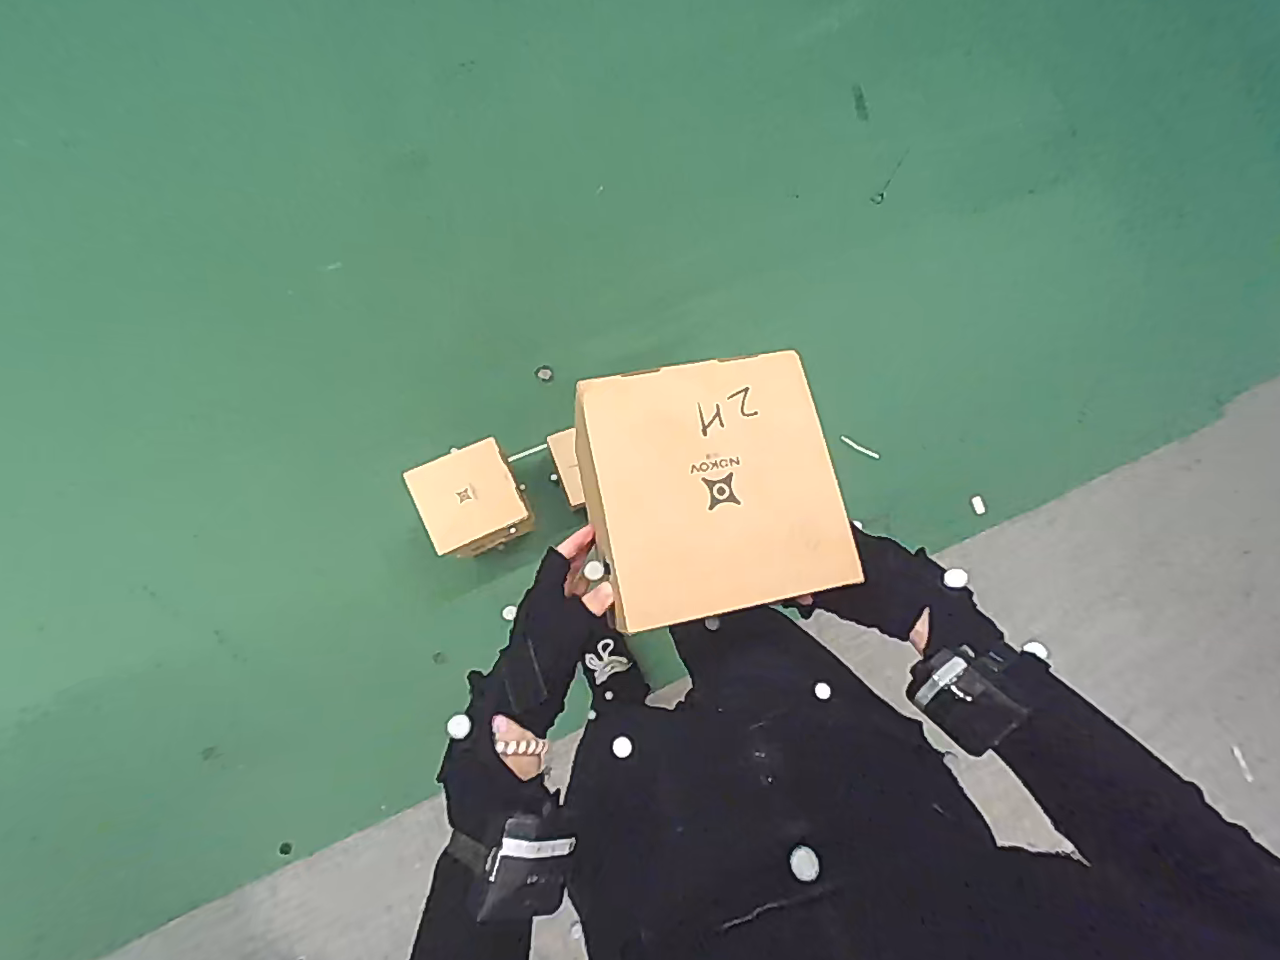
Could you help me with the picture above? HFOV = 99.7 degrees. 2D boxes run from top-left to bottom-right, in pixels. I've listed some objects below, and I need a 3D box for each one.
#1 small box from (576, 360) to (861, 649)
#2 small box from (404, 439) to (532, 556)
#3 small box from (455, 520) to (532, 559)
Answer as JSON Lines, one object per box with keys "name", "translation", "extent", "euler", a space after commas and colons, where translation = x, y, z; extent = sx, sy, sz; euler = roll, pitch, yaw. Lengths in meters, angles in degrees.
{"name": "small box", "translation": [0.044, 0.026, 0.440], "extent": [0.168, 0.176, 0.179], "euler": [-10, 78, -9]}
{"name": "small box", "translation": [-0.324, 0.042, 1.055], "extent": [0.179, 0.176, 0.168], "euler": [-24, 86, -11]}
{"name": "small box", "translation": [-0.351, 0.064, 1.215], "extent": [0.168, 0.176, 0.179], "euler": [-23, 88, -11]}
